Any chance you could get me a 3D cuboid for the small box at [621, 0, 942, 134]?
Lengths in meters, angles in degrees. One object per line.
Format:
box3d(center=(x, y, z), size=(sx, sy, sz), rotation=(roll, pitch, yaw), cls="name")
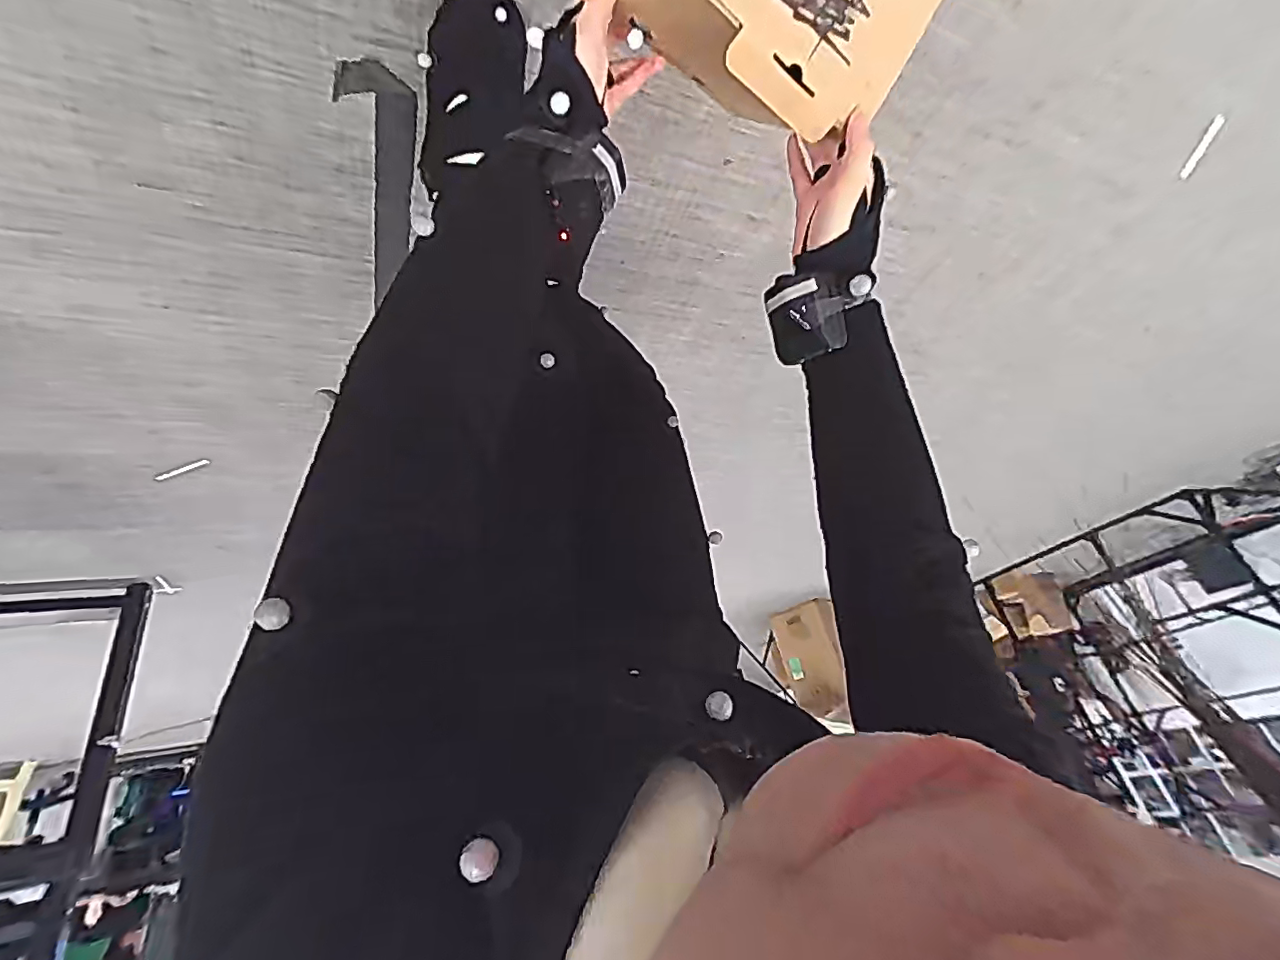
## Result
box3d(center=(0.100, -0.377, 0.366), size=(0.168, 0.176, 0.179), rotation=(10, 119, -39), cls="small box")
